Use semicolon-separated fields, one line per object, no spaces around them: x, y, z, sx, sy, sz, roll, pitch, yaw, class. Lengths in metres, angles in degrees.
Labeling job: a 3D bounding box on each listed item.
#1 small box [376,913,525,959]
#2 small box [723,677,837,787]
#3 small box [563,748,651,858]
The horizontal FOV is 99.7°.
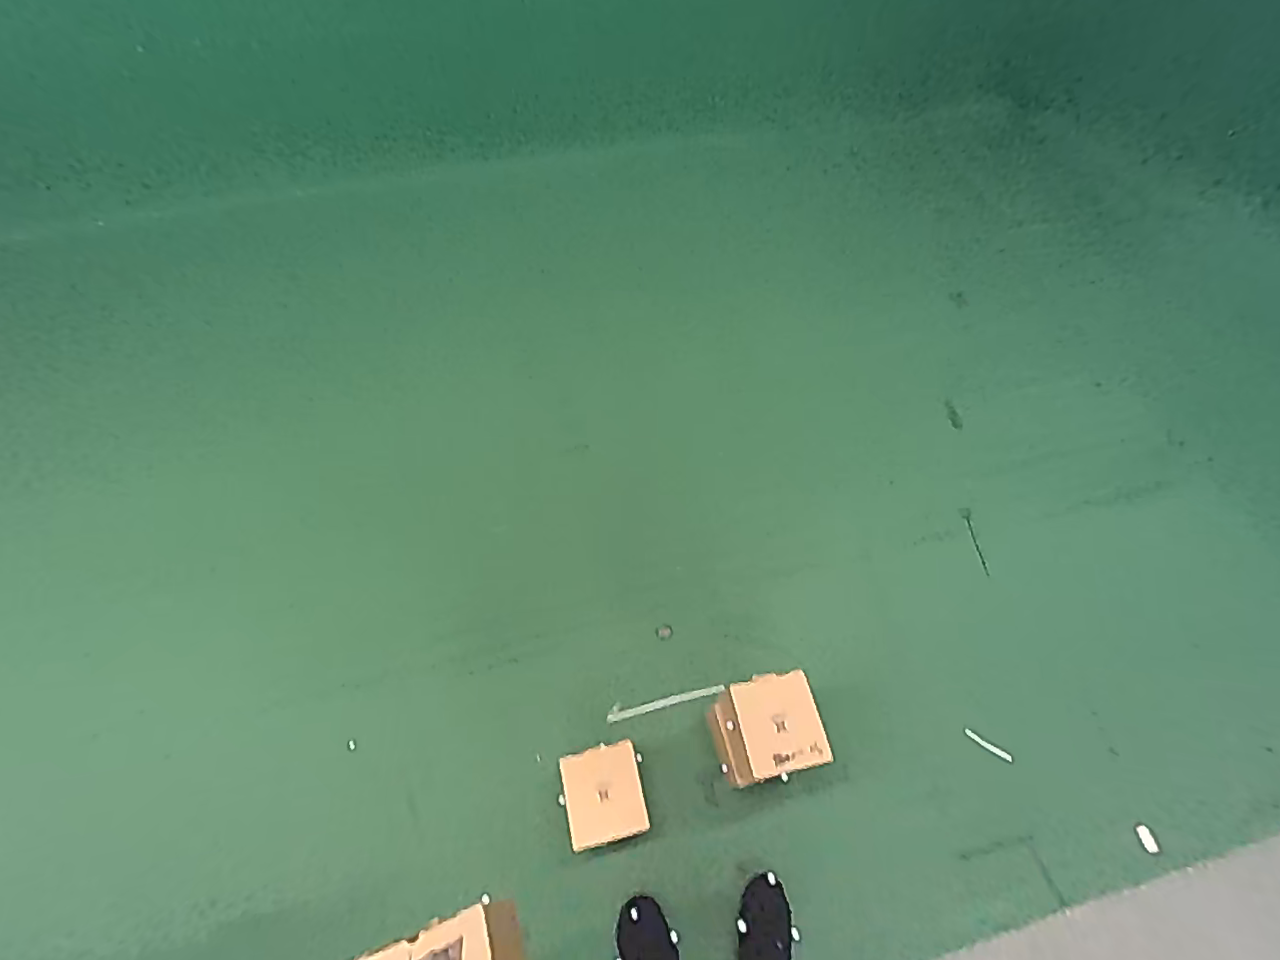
-0.225;0.643;0.632;0.168;0.176;0.179;-18;55;-10;small box
0.285;0.536;1.146;0.168;0.176;0.179;-9;61;-6;small box
-0.072;0.725;1.225;0.168;0.176;0.179;-12;61;-7;small box
